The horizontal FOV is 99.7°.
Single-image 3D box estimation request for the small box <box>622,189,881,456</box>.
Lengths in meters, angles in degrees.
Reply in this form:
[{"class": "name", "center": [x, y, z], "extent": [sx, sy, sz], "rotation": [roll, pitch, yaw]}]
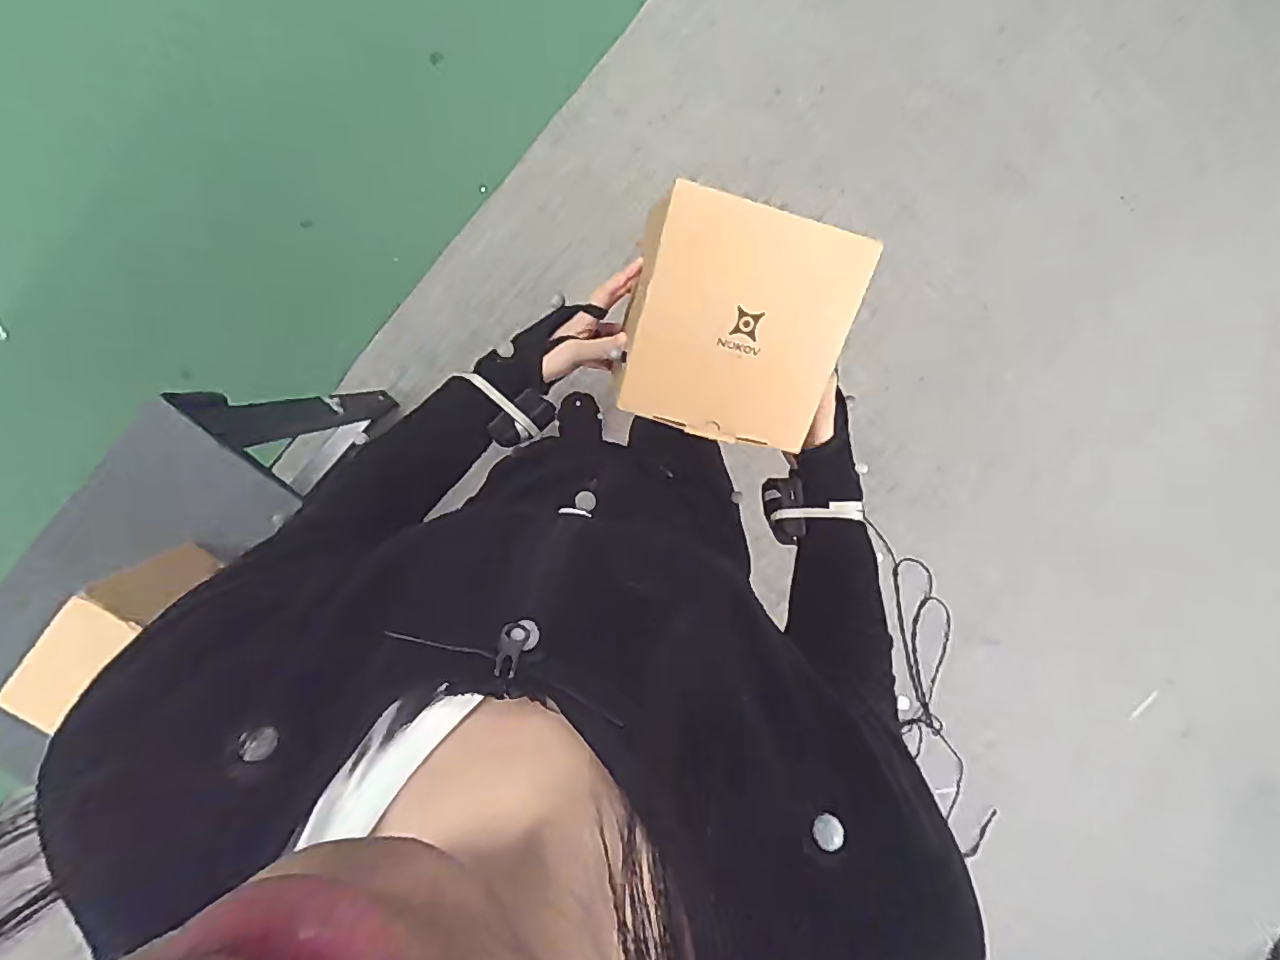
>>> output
[{"class": "small box", "center": [0.080, -0.146, 0.502], "extent": [0.168, 0.176, 0.179], "rotation": [12, 113, -9]}]
